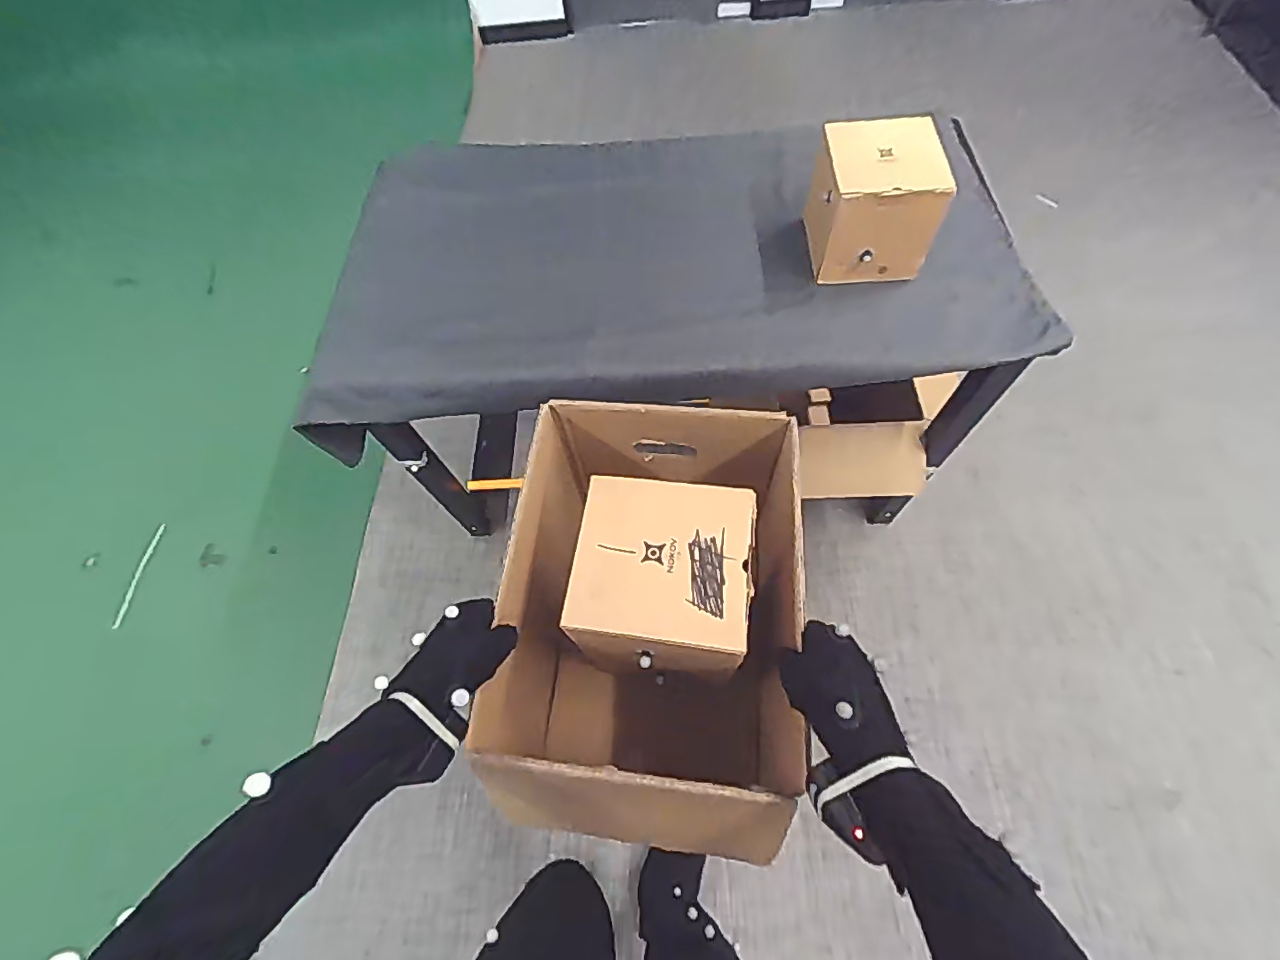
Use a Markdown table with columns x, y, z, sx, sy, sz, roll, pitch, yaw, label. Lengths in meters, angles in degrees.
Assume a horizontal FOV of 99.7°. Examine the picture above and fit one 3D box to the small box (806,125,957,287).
| x | y | z | sx | sy | sz | roll | pitch | yaw | label |
| --- | --- | --- | --- | --- | --- | --- | --- | --- | --- |
| 0.377 | -0.441 | 0.883 | 0.168 | 0.176 | 0.179 | -1 | 63 | 4 | small box |
